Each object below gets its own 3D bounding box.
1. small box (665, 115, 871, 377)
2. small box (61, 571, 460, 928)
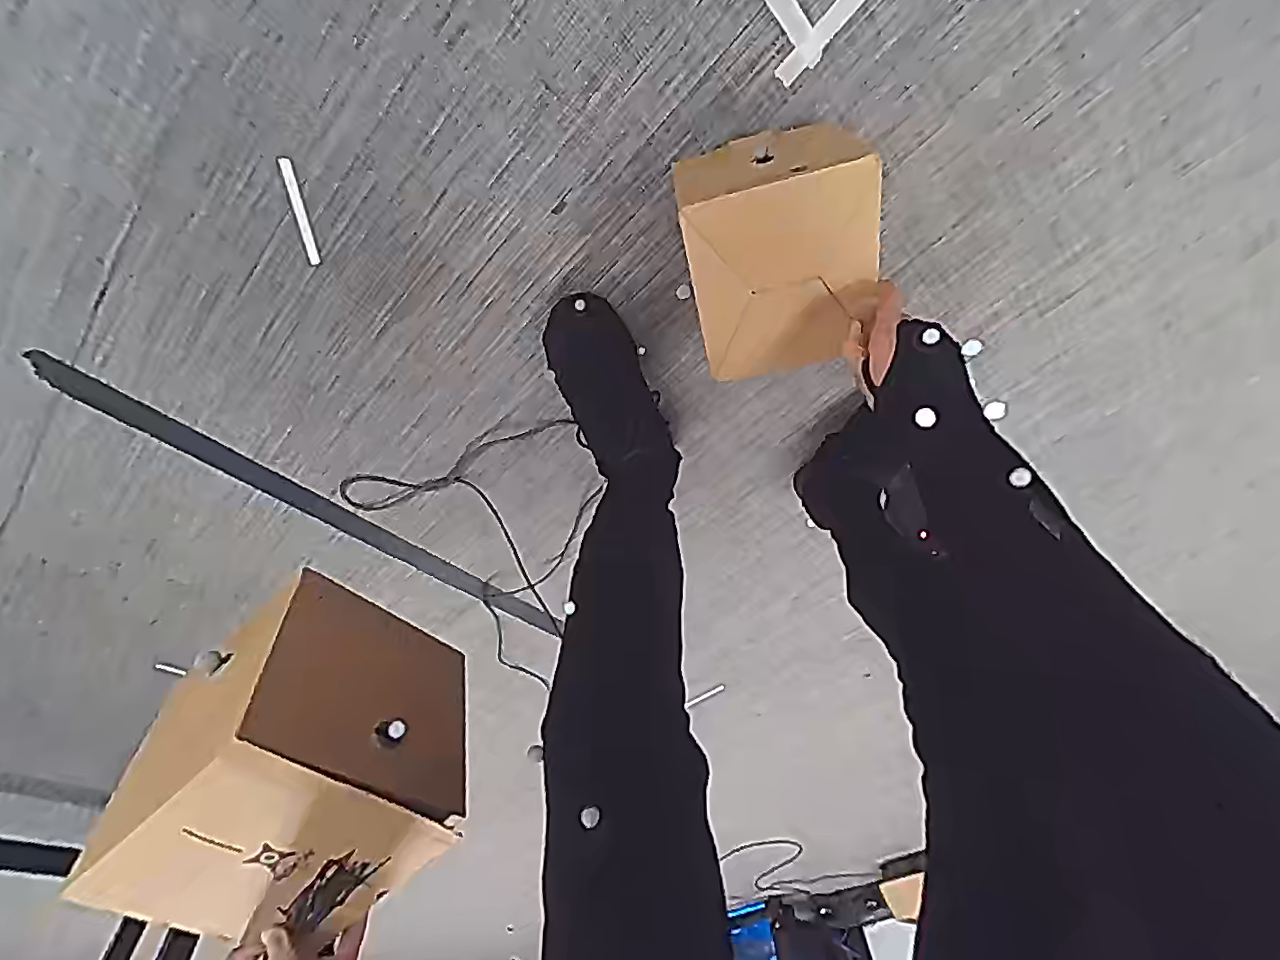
[{"bbox_3d":[0.128,-0.236,0.553,0.168,0.176,0.179,-11,131,12],"label":"small box"},{"bbox_3d":[-0.264,0.206,0.433,0.168,0.176,0.179,-41,121,6],"label":"small box"}]
